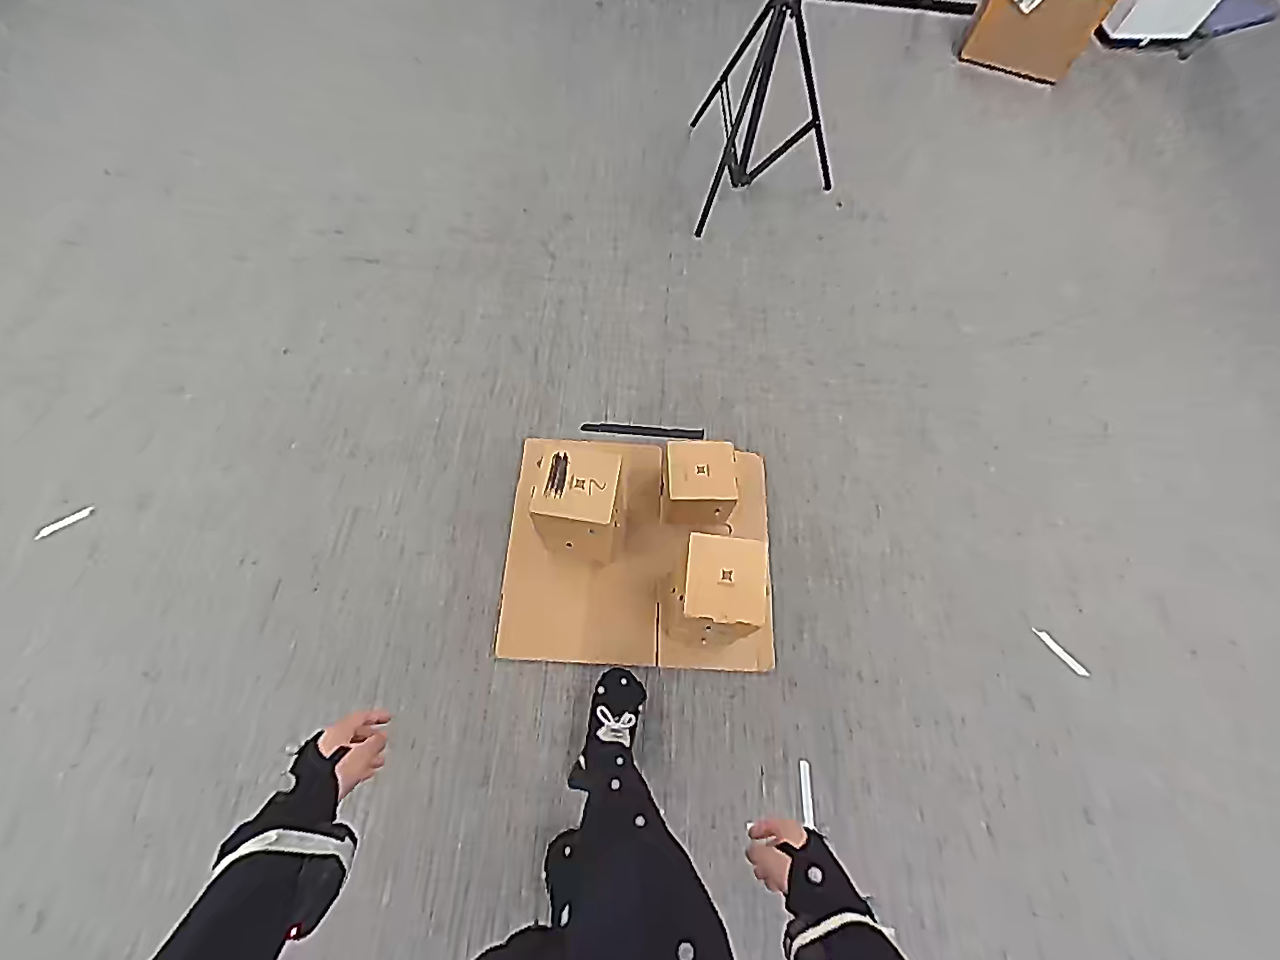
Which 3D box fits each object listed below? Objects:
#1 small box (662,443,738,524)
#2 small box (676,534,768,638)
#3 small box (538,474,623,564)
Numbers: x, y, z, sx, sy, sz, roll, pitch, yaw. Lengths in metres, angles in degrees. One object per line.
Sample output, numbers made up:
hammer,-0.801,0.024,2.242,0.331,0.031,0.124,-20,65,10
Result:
small box,0.153,0.014,1.441,0.179,0.176,0.168,0,66,-3
small box,0.171,0.233,1.166,0.168,0.176,0.179,7,67,0
small box,-0.144,0.105,1.380,0.179,0.176,0.168,12,67,3
